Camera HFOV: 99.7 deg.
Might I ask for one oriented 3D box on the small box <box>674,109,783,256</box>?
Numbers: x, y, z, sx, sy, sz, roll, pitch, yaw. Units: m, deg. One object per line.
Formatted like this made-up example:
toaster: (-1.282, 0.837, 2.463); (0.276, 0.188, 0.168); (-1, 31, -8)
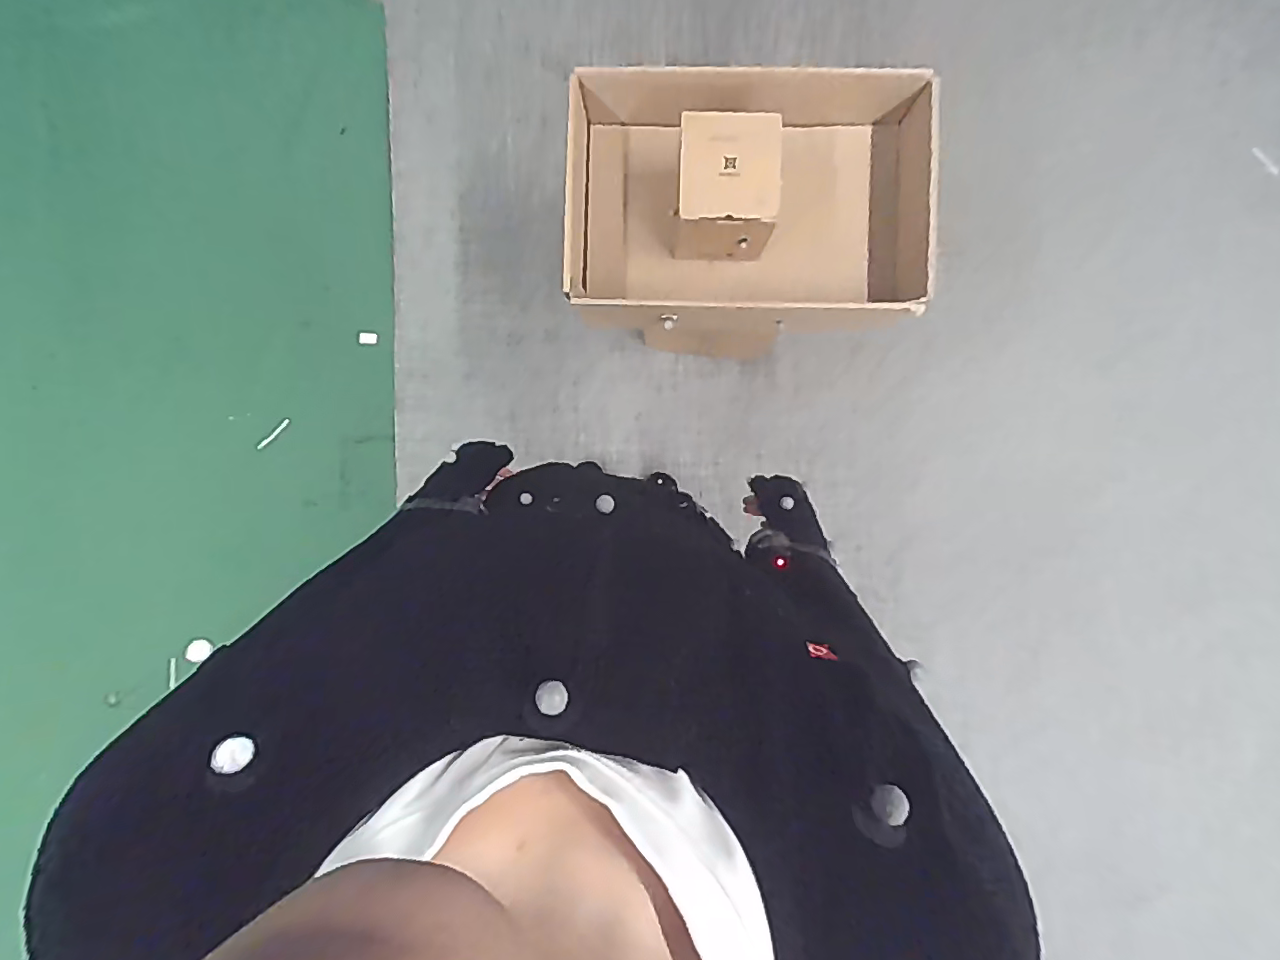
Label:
small box: (0.150, -0.515, 0.959); (0.168, 0.176, 0.179); (1, 89, 0)
